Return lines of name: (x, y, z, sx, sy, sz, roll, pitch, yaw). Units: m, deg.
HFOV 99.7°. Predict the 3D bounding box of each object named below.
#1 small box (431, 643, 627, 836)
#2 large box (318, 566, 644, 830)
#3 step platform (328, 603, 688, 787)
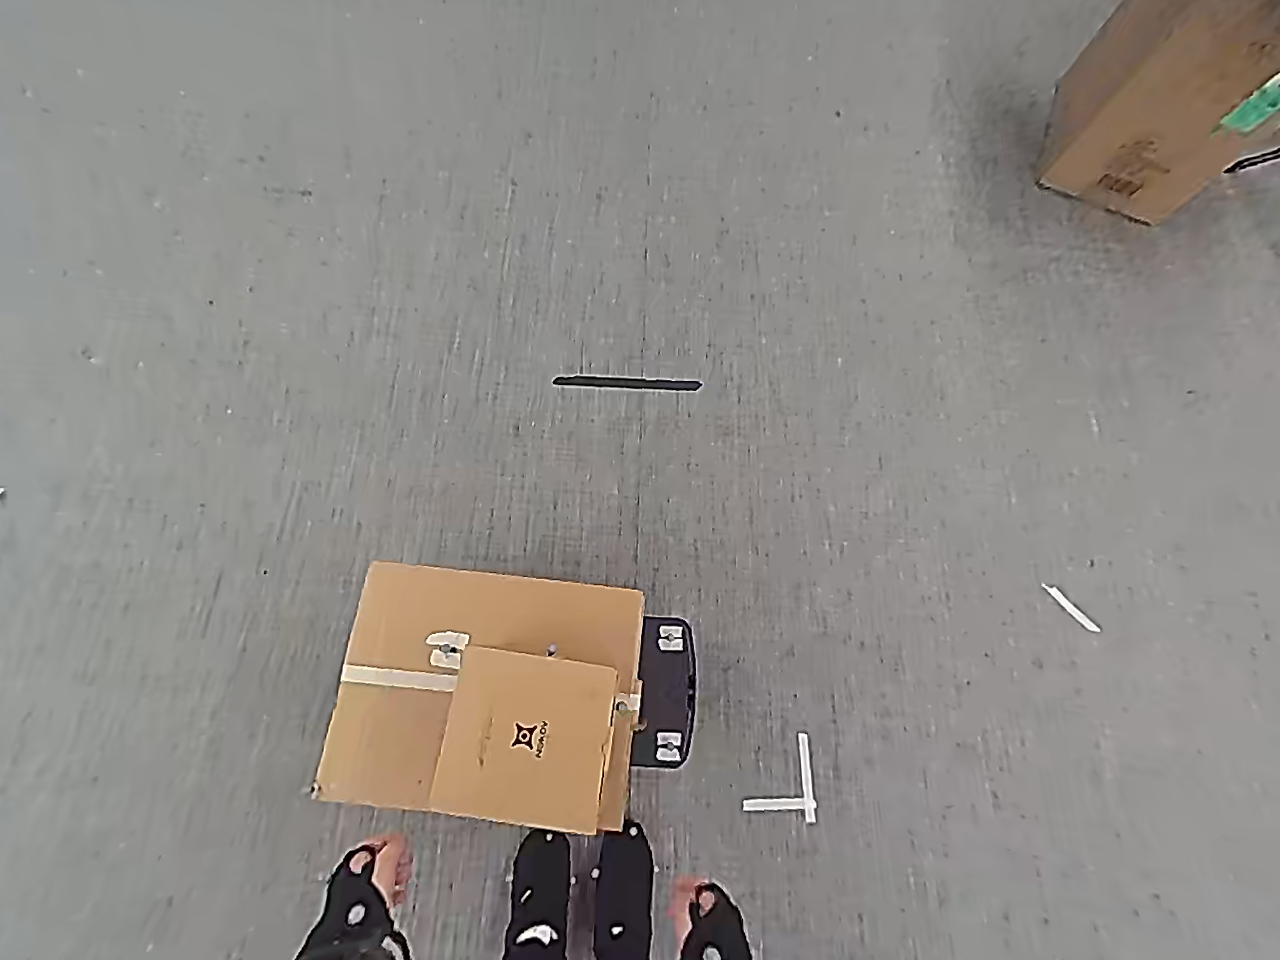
small box: (-0.116, 0.290, 0.641, 0.179, 0.176, 0.168, 9, 72, 0)
large box: (-0.208, 0.332, 0.879, 0.408, 0.320, 0.320, 6, 71, -1)
step platform: (-0.243, 0.414, 1.101, 0.684, 0.204, 0.286, 9, 72, 0)
